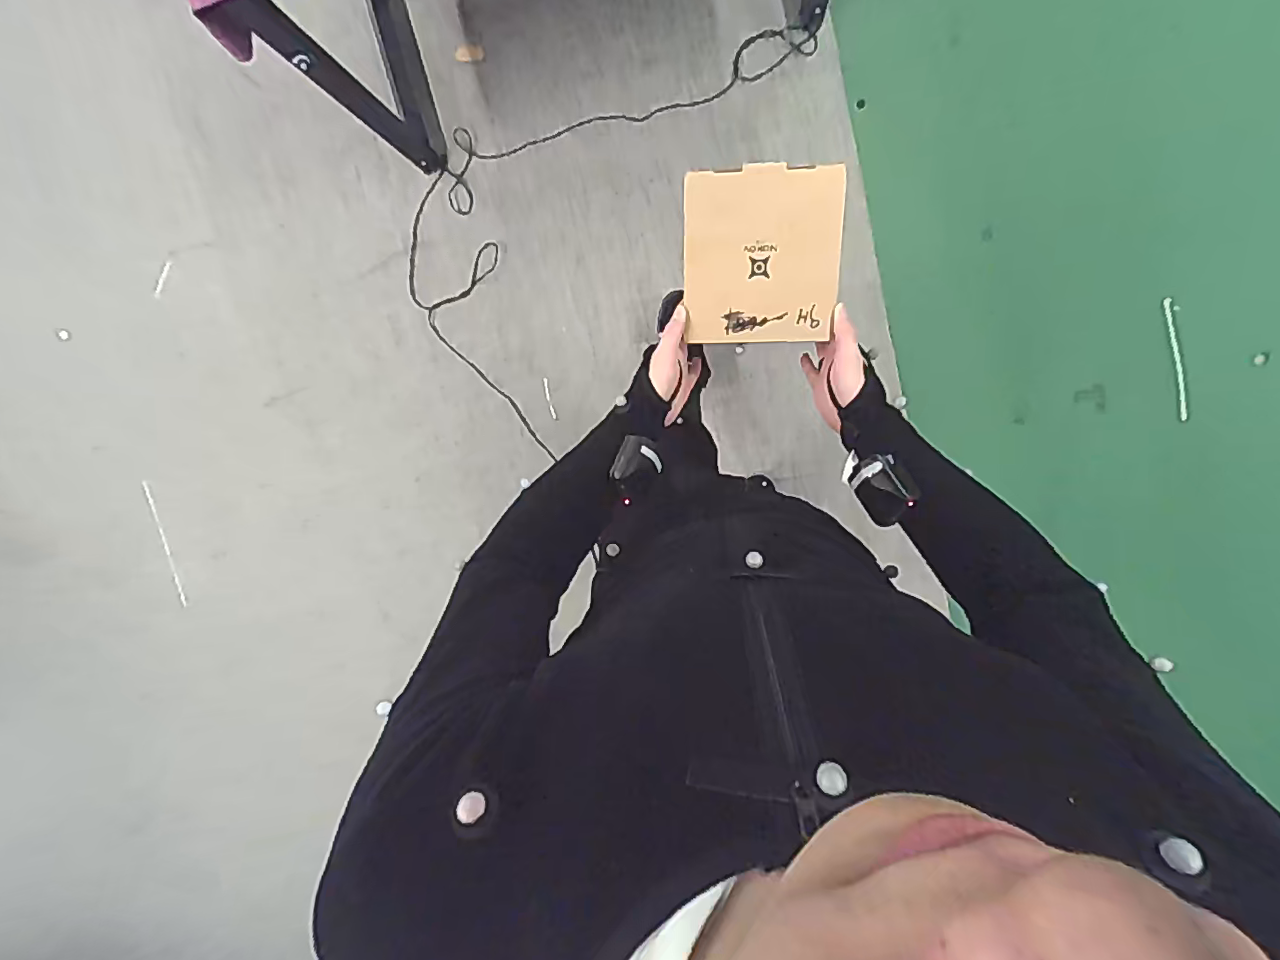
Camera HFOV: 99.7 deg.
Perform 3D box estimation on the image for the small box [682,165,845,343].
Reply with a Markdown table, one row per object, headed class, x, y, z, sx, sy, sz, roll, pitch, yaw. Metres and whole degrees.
| class | x | y | z | sx | sy | sz | roll | pitch | yaw |
| --- | --- | --- | --- | --- | --- | --- | --- | --- | --- |
| small box | 0.138 | -0.258 | 0.655 | 0.168 | 0.176 | 0.179 | 2 | 106 | 8 |
